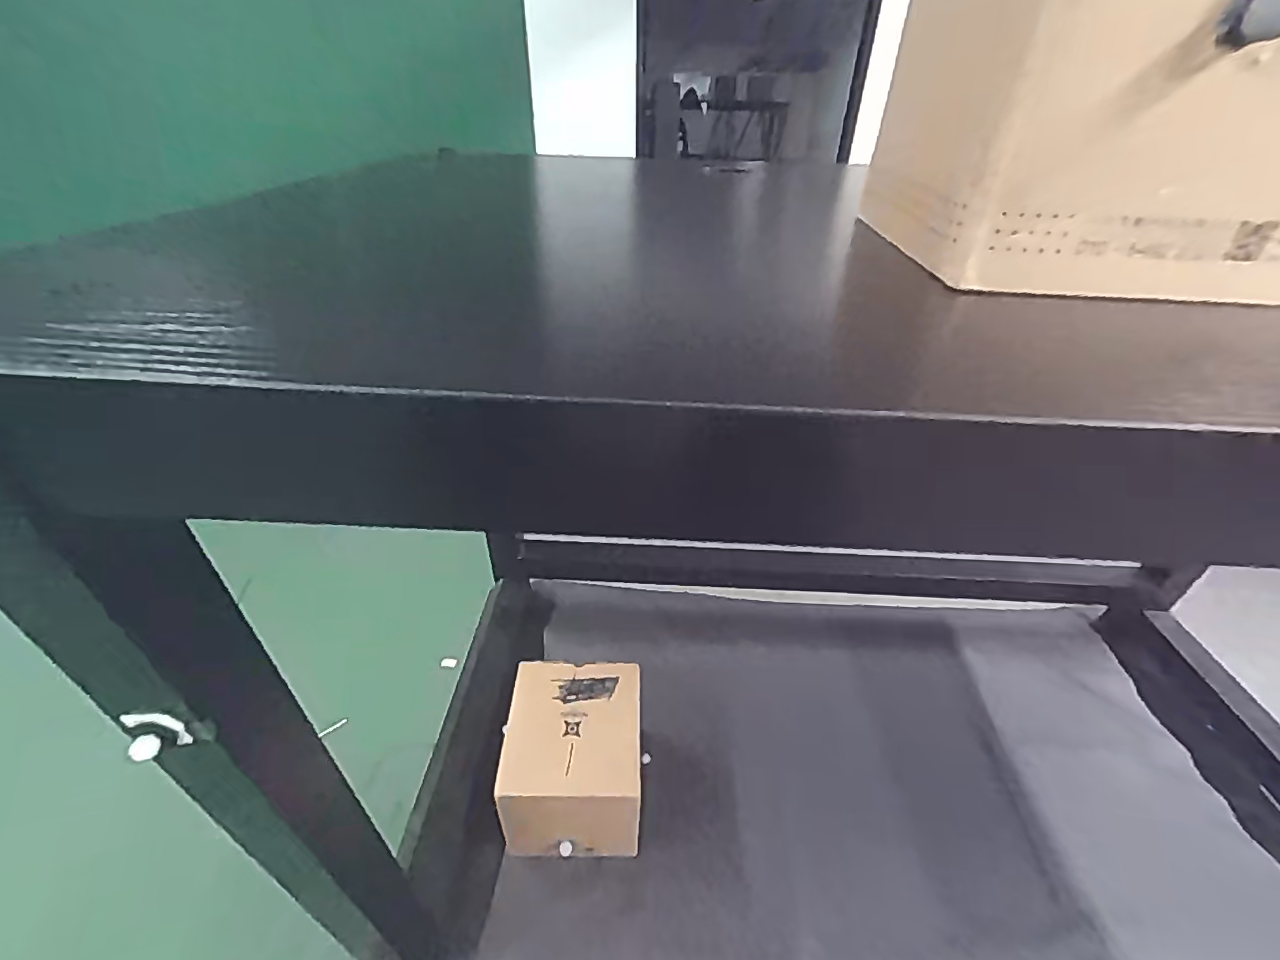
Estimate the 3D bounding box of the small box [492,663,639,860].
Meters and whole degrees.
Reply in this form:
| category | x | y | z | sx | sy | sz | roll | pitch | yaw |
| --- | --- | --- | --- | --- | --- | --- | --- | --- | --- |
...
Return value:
| category | x | y | z | sx | sy | sz | roll | pitch | yaw |
| --- | --- | --- | --- | --- | --- | --- | --- | --- | --- |
| small box | -0.086 | 0.366 | 0.712 | 0.168 | 0.176 | 0.179 | 1 | 36 | 0 |

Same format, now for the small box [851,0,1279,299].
| category | x | y | z | sx | sy | sz | roll | pitch | yaw |
| --- | --- | --- | --- | --- | --- | --- | --- | --- | --- |
| small box | 0.211 | -0.189 | 0.243 | 0.168 | 0.176 | 0.179 | 4 | 35 | 4 |
